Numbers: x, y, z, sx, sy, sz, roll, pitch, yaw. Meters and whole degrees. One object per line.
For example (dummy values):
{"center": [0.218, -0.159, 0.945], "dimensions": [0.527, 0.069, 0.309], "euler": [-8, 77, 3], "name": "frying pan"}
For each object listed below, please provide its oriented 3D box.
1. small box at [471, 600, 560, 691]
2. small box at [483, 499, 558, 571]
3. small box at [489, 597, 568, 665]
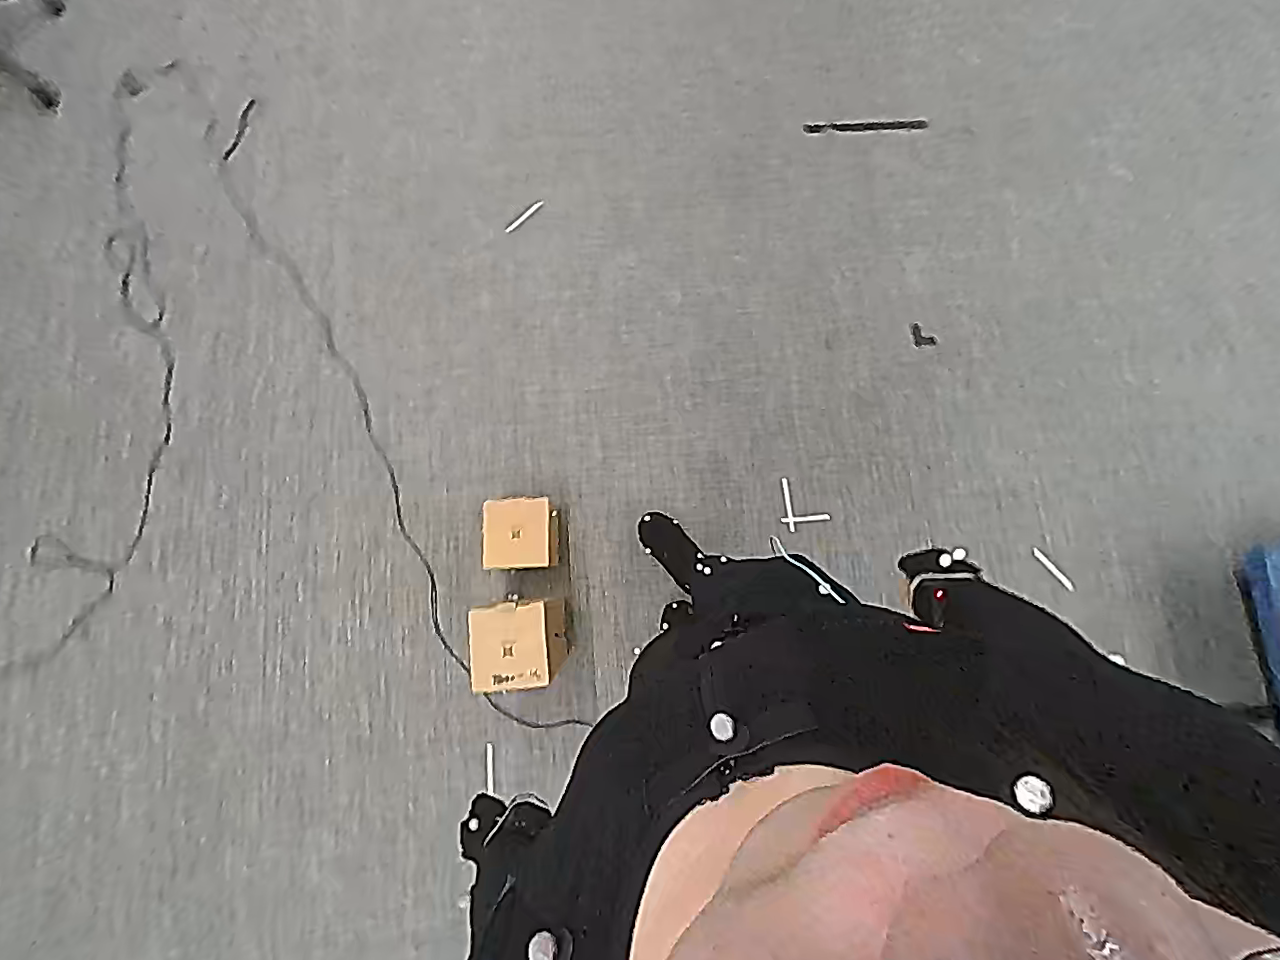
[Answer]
{"center": [-0.280, 0.369, 1.233], "dimensions": [0.168, 0.176, 0.179], "euler": [-5, 81, -1], "name": "small box"}
{"center": [-0.313, 0.149, 1.439], "dimensions": [0.168, 0.176, 0.179], "euler": [-3, 80, -1], "name": "small box"}
{"center": [-0.286, 0.394, 1.395], "dimensions": [0.179, 0.176, 0.168], "euler": [-4, 81, -2], "name": "small box"}
